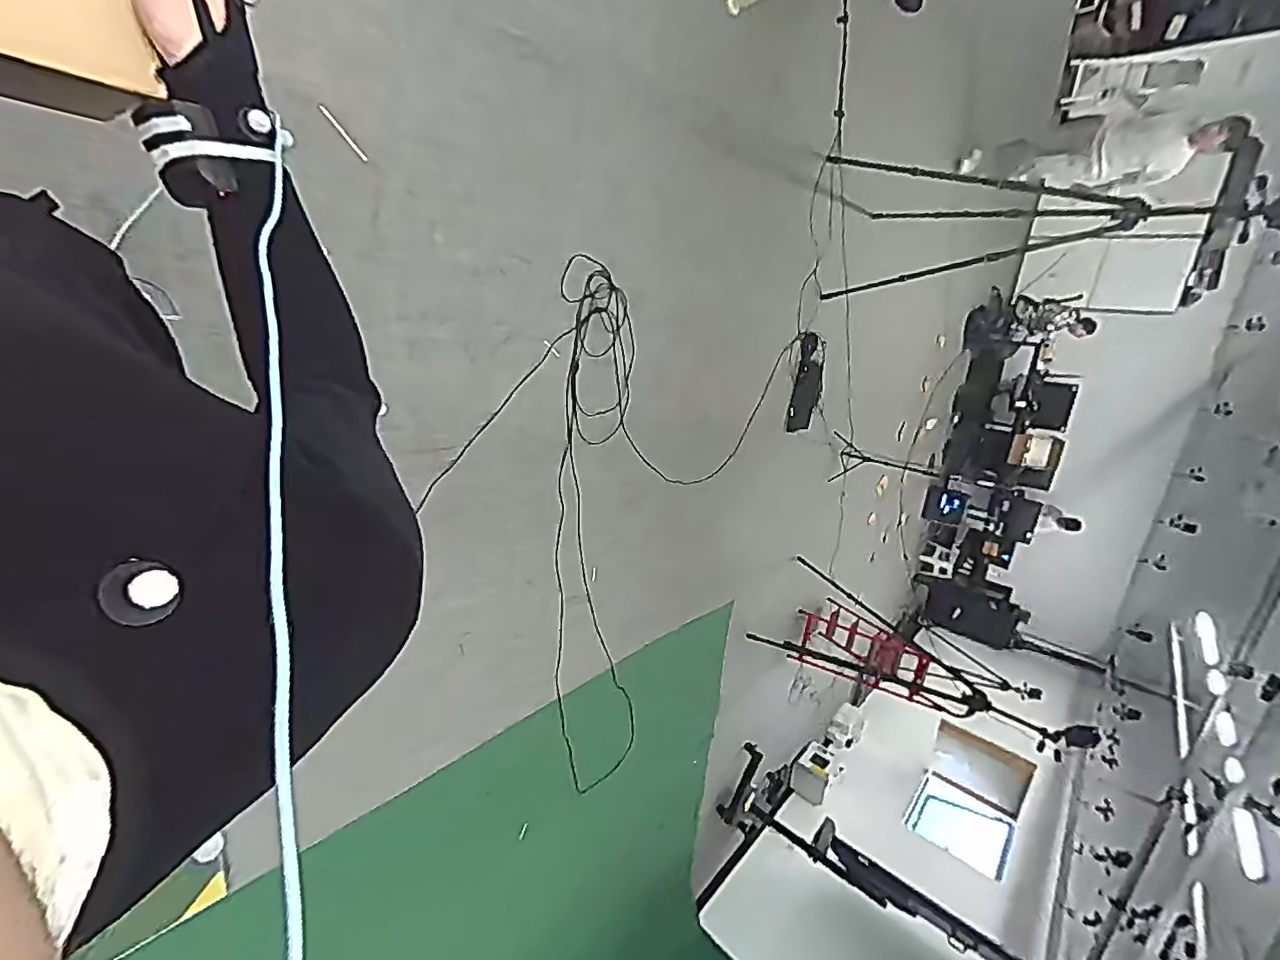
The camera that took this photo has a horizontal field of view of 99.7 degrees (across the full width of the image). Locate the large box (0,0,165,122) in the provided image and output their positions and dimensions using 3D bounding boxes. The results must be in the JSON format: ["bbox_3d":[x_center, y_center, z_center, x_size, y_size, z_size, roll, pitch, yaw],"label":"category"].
[{"bbox_3d":[-0.584,-0.449,0.308,0.408,0.320,0.320,-13,120,-48],"label":"large box"}]
